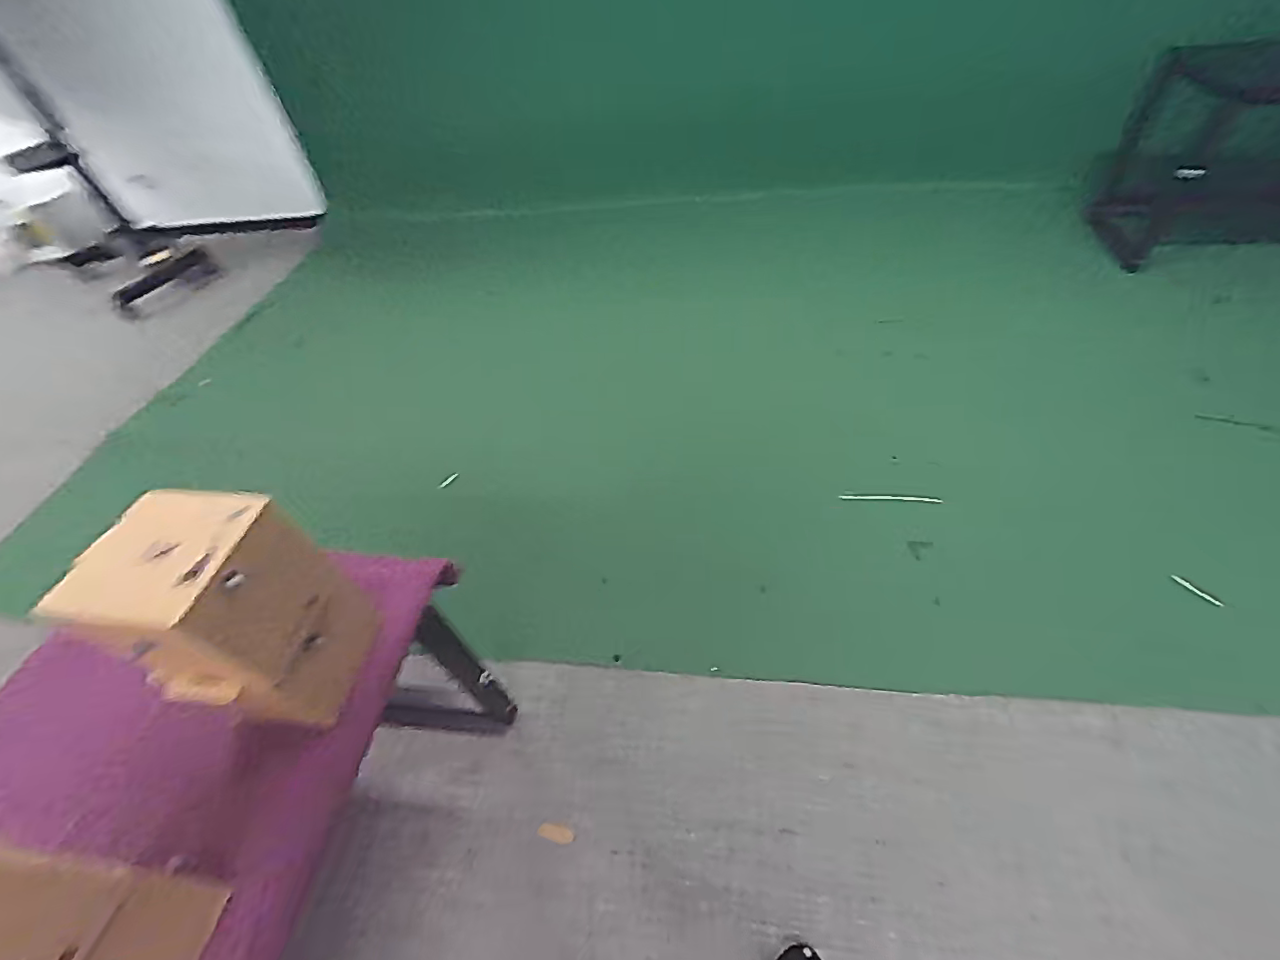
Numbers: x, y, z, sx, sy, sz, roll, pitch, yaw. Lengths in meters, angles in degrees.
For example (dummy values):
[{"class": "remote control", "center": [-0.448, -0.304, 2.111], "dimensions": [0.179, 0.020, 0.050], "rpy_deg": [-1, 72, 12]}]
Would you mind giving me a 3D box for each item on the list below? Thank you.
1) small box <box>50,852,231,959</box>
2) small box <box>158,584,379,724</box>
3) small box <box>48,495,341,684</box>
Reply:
[{"class": "small box", "center": [-0.591, 0.512, 0.565], "dimensions": [0.168, 0.176, 0.179], "rpy_deg": [2, 49, 10]}, {"class": "small box", "center": [-0.518, 0.240, 0.789], "dimensions": [0.168, 0.176, 0.179], "rpy_deg": [1, 49, 8]}, {"class": "small box", "center": [-0.518, 0.135, 0.661], "dimensions": [0.179, 0.176, 0.168], "rpy_deg": [2, 50, 10]}]
